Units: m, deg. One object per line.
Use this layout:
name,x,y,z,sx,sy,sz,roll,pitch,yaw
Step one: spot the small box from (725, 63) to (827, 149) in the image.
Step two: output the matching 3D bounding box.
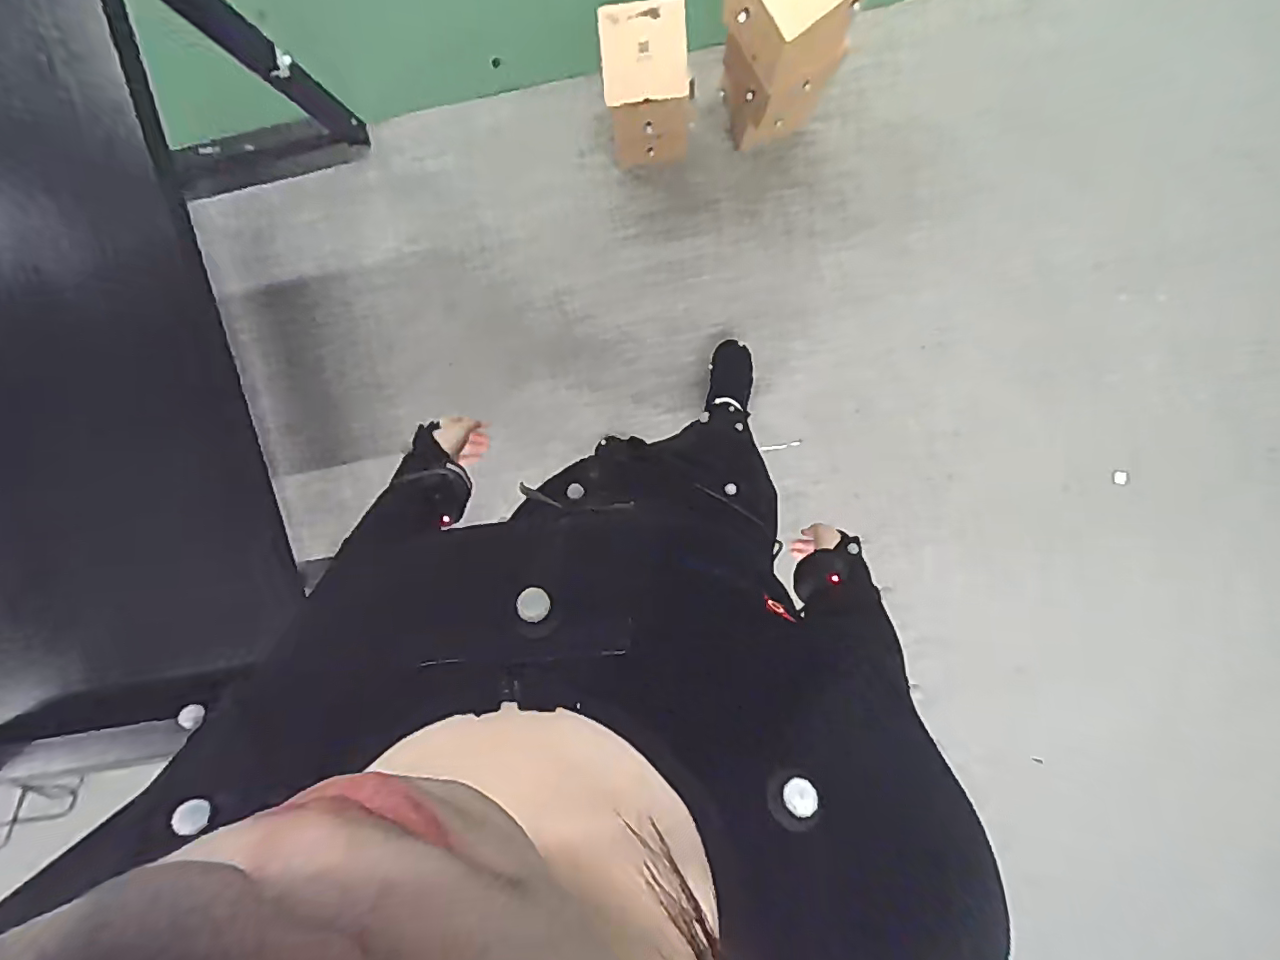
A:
small box,0.299,-0.894,1.233,0.179,0.176,0.168,-17,100,5

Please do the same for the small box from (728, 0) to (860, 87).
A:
small box,0.264,-0.826,0.917,0.179,0.176,0.168,-34,98,7

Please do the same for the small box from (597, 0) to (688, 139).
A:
small box,0.011,-0.817,1.093,0.168,0.176,0.179,-3,100,4

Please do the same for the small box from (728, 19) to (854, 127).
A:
small box,0.287,-0.854,1.077,0.179,0.176,0.168,-30,99,7
